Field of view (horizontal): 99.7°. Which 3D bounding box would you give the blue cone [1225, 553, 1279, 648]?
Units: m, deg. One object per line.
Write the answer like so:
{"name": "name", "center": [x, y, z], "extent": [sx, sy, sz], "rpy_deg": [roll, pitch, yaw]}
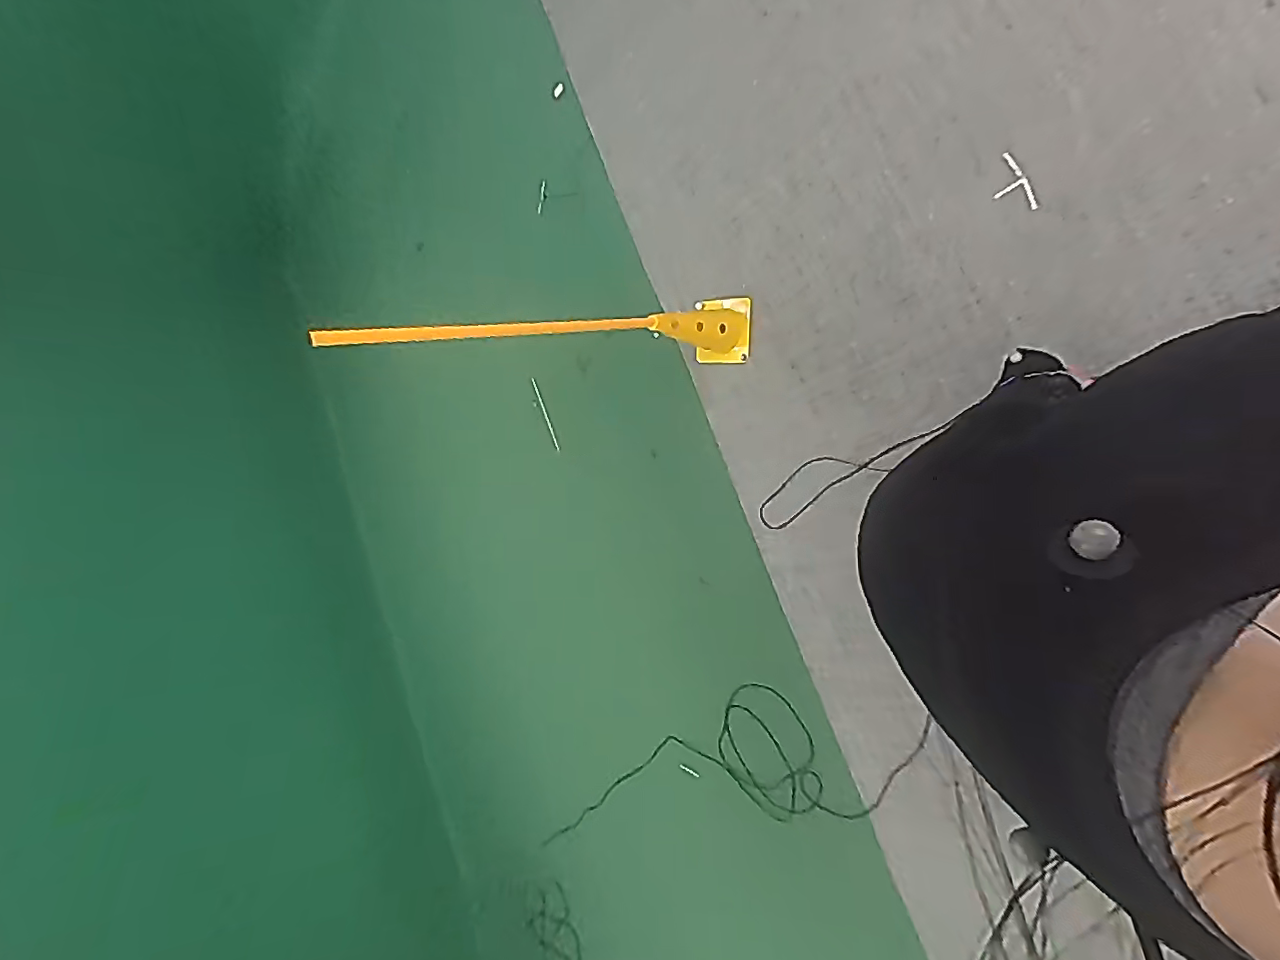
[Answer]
{"name": "blue cone", "center": [1.132, 0.262, 0.860], "extent": [0.193, 0.380, 0.192], "rpy_deg": [28, 114, 32]}
